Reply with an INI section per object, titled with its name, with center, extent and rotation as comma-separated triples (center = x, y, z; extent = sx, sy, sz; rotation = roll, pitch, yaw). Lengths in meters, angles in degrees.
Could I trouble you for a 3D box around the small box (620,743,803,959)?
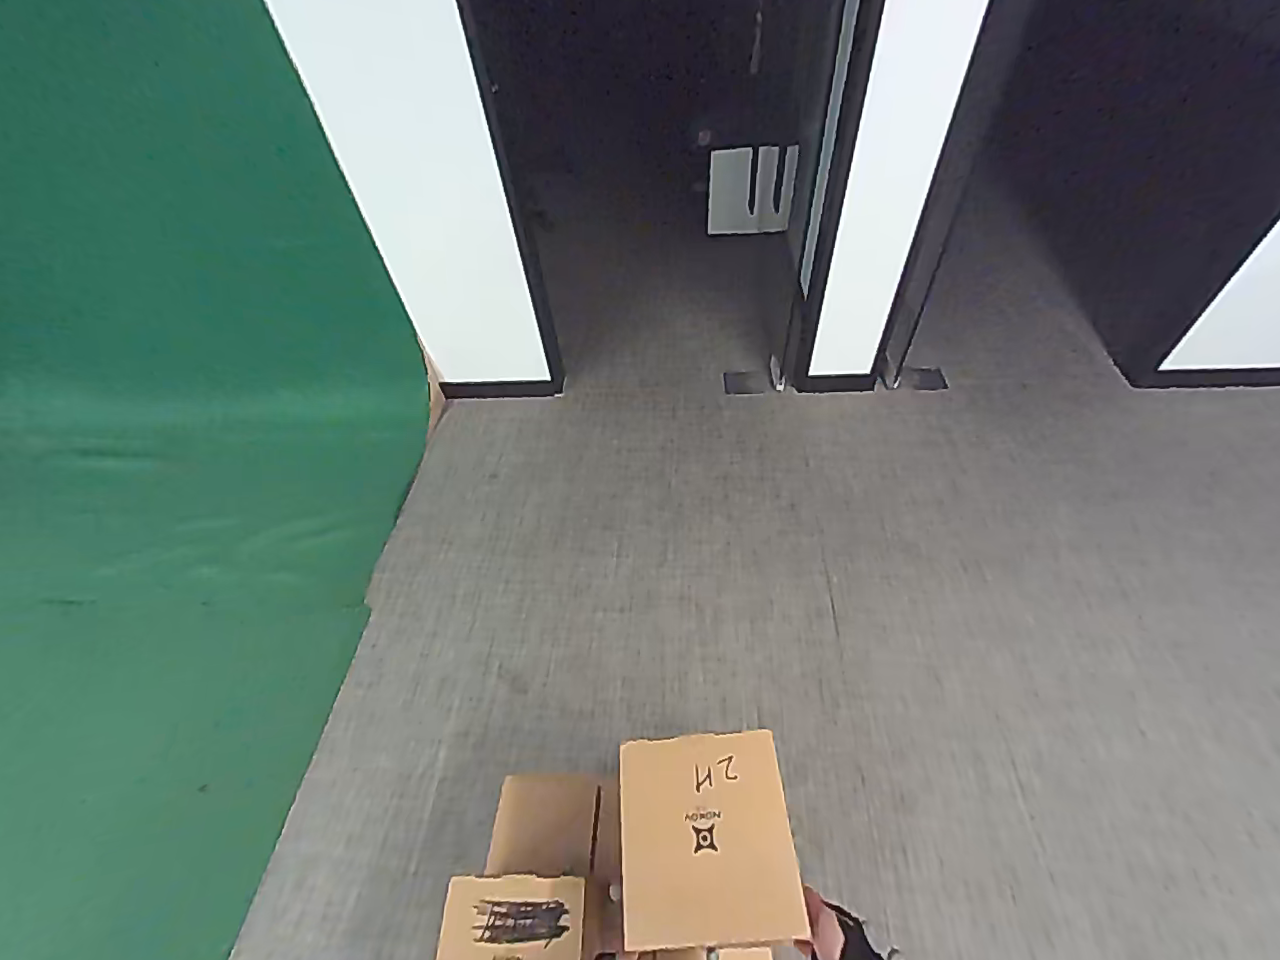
[small box]
center = 0.070, 0.407, 0.591
extent = 0.168, 0.176, 0.179
rotation = -5, 49, 3
